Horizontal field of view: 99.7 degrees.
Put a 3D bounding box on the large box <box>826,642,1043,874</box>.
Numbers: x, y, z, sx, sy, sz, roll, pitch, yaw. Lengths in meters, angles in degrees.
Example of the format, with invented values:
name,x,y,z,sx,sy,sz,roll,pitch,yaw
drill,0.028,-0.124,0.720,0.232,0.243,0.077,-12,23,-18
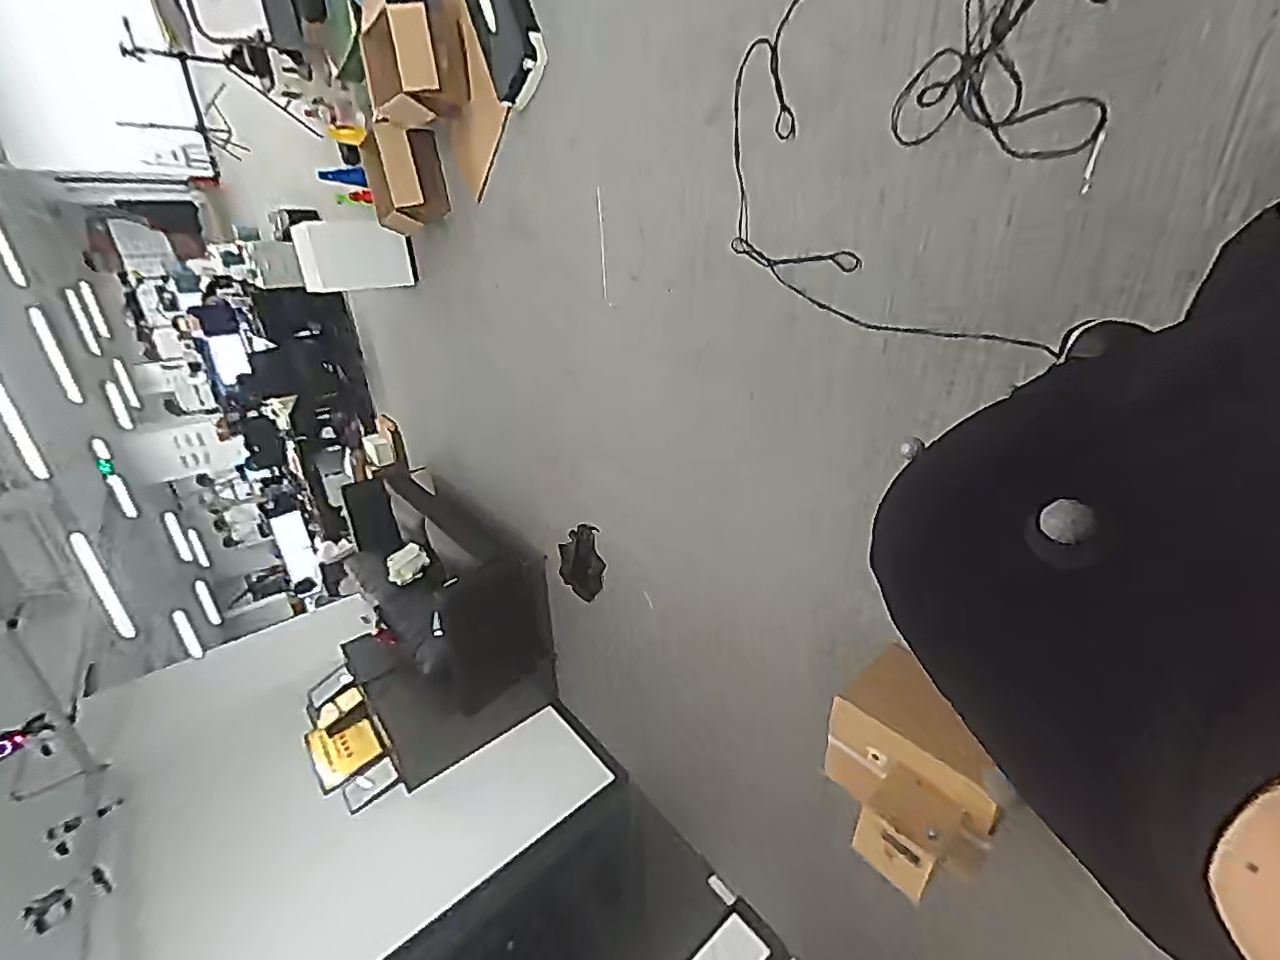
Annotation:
name,x,y,z,sx,sy,sz,roll,pitch,yaw
large box,0.781,0.720,1.469,0.408,0.320,0.320,26,126,46
